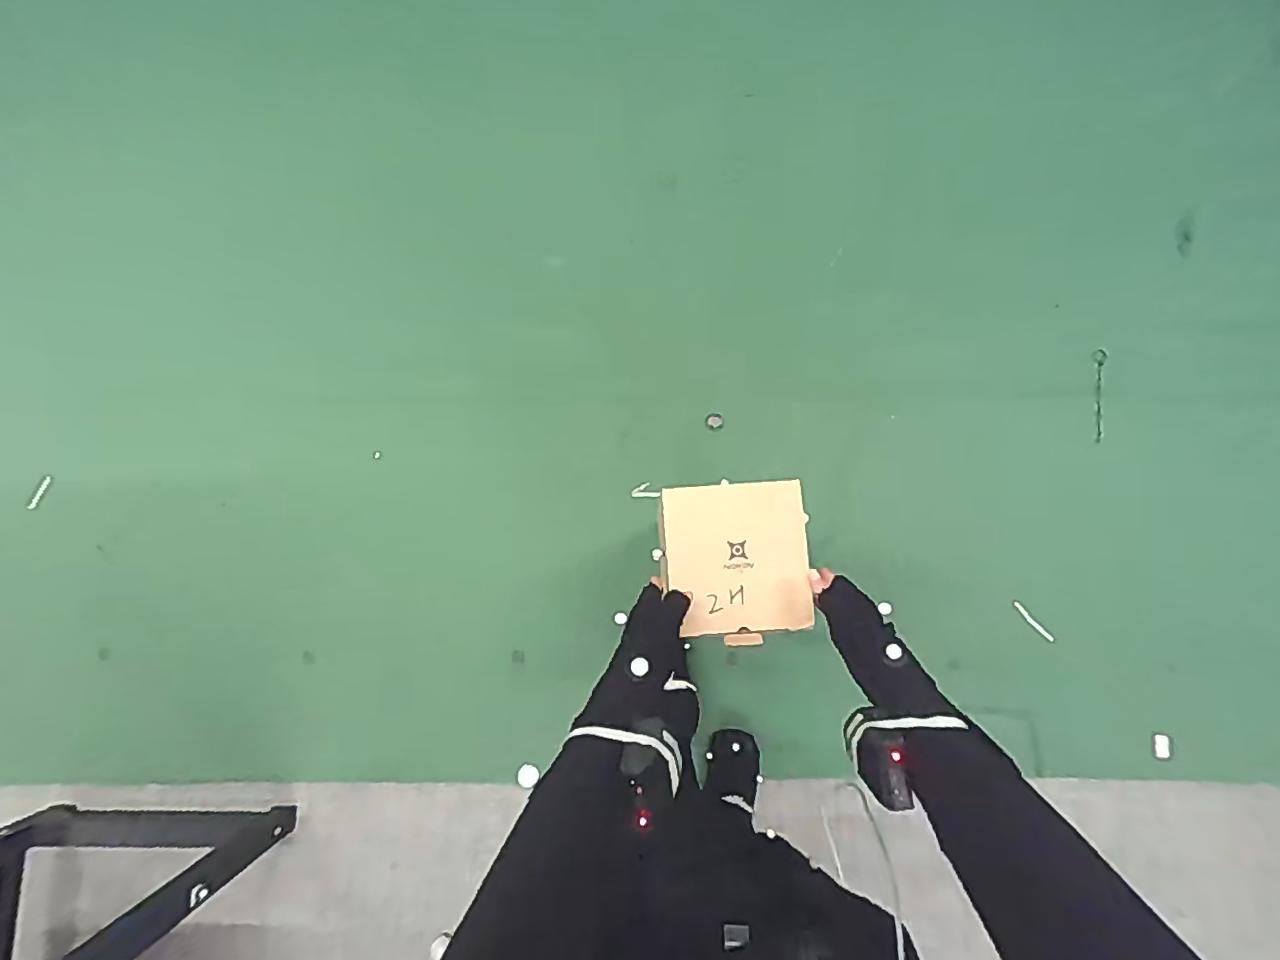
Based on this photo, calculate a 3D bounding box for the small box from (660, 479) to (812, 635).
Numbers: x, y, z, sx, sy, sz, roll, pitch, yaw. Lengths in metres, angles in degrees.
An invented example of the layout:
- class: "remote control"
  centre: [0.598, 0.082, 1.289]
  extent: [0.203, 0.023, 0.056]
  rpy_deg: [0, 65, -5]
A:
- class: "small box"
  centre: [0.114, 0.100, 0.713]
  extent: [0.168, 0.176, 0.179]
  rpy_deg: [-4, 83, 1]
